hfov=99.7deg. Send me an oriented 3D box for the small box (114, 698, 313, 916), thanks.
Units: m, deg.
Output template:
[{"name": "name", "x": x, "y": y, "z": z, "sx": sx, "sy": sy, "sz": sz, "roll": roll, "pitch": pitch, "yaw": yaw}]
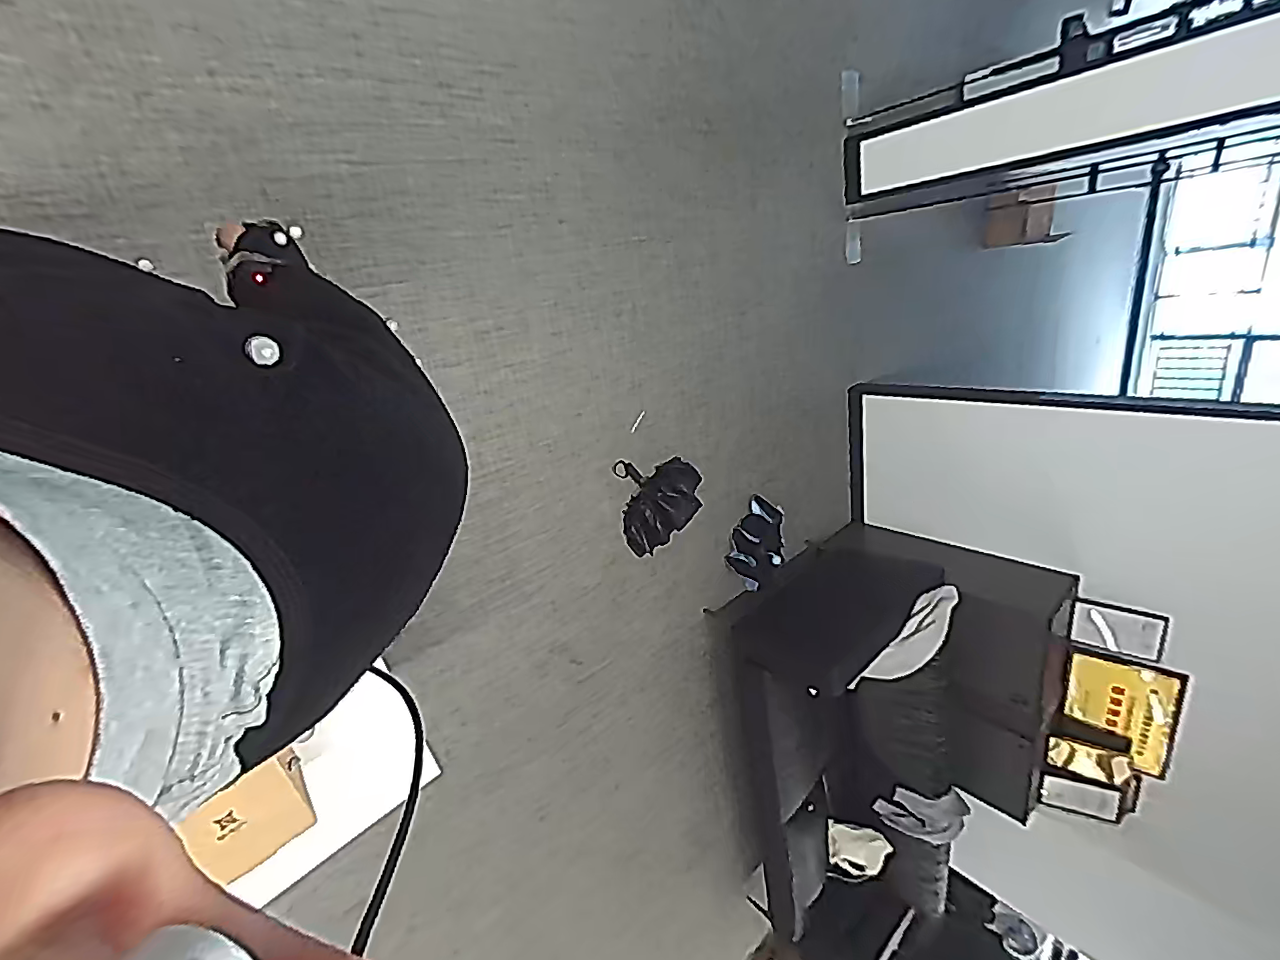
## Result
[{"name": "small box", "x": -0.613, "y": 0.461, "z": 0.789, "sx": 0.168, "sy": 0.176, "sz": 0.179, "roll": -29, "pitch": 119, "yaw": -34}]
